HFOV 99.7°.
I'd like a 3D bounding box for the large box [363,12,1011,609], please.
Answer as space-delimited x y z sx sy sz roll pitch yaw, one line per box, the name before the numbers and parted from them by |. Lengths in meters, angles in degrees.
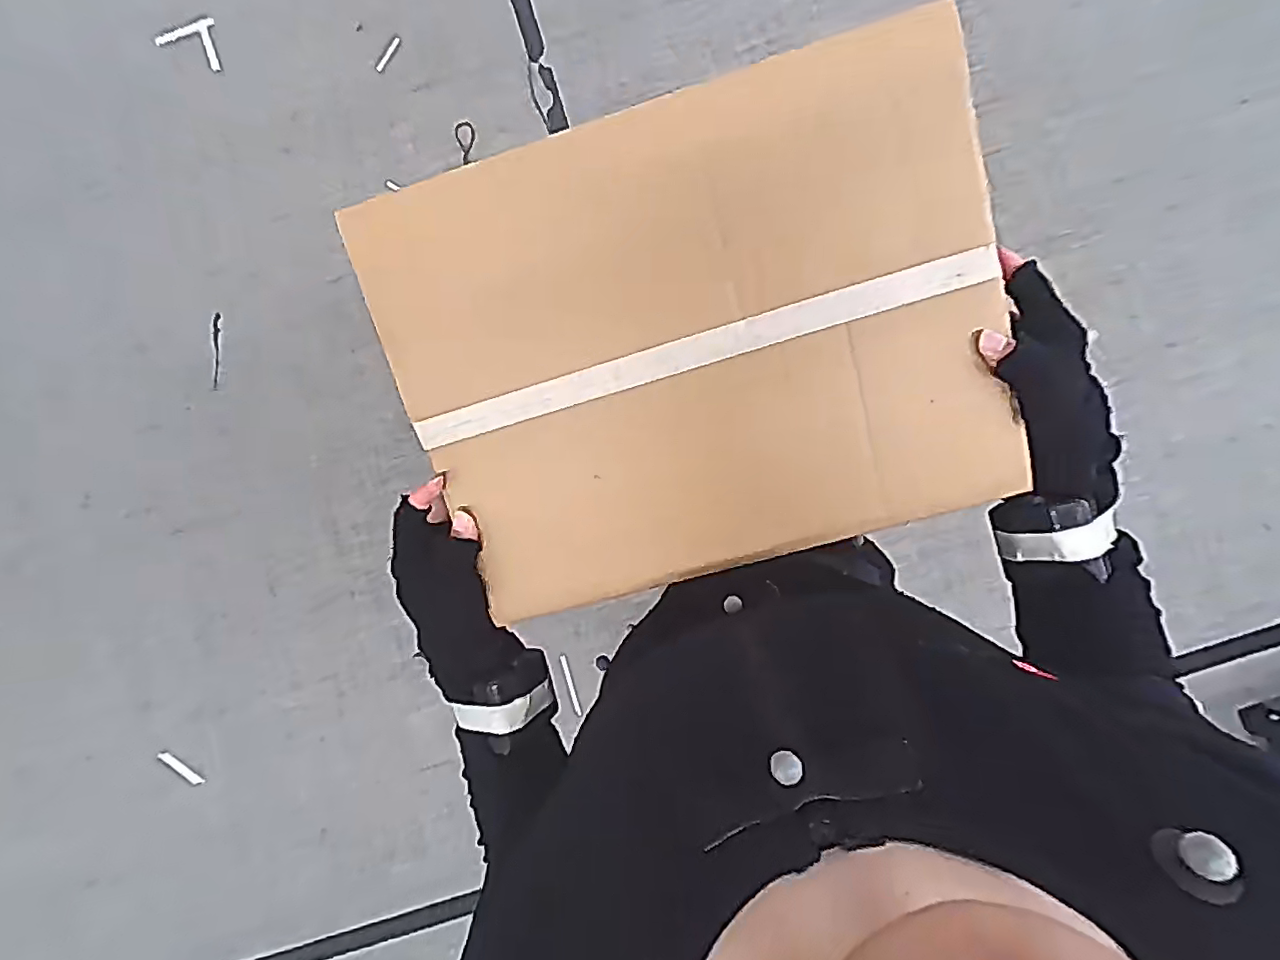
large box | 0.042 -0.122 0.527 0.408 0.320 0.320 -16 102 6
